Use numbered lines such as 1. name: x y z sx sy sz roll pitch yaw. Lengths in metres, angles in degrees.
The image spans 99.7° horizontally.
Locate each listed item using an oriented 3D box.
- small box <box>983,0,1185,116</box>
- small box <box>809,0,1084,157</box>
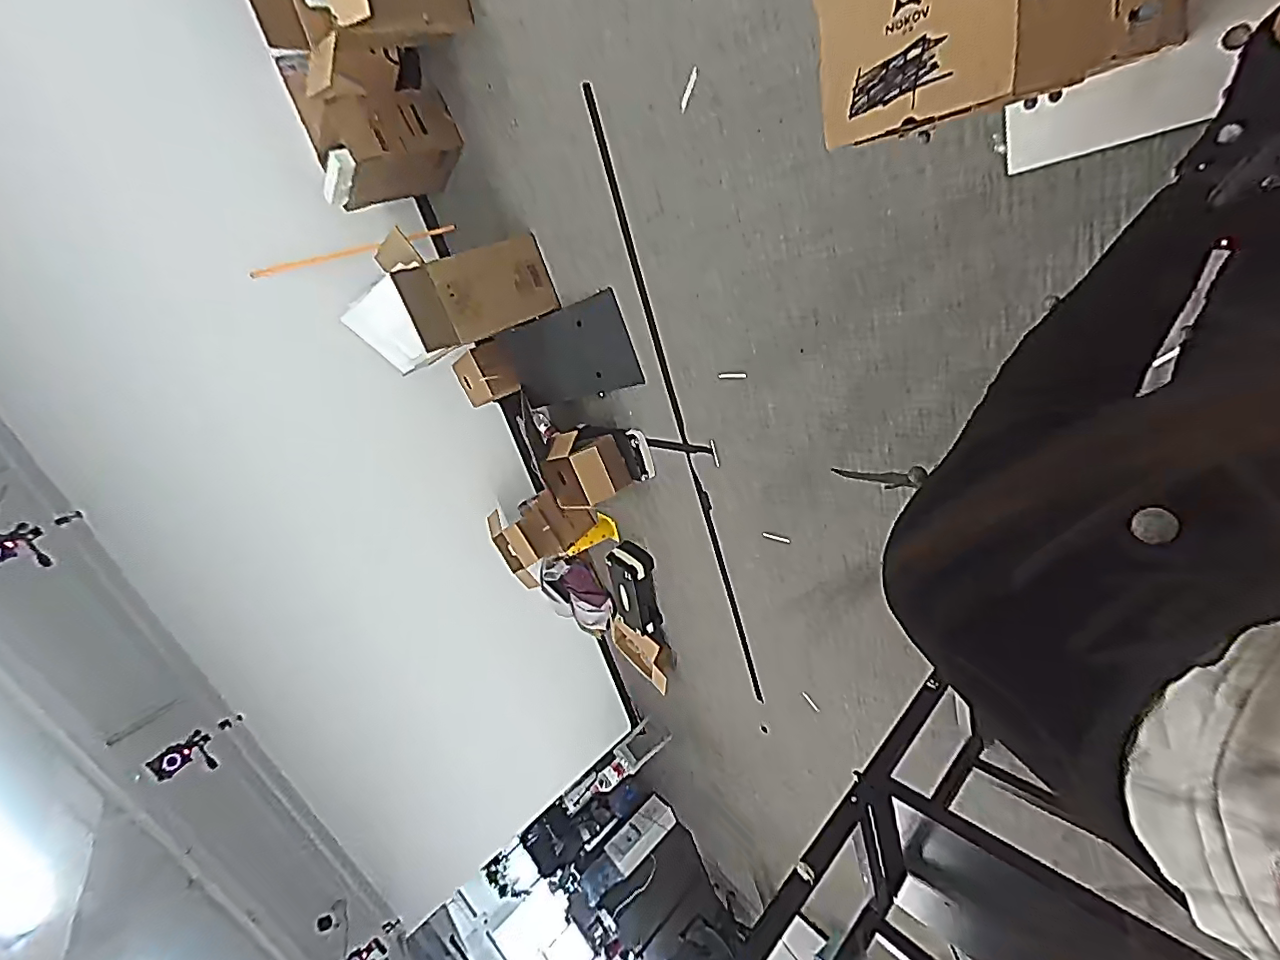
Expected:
1. small box: 0.519 -0.568 0.640 0.168 0.176 0.179 12 126 50
2. small box: 0.274 -0.417 0.482 0.168 0.176 0.179 17 129 49
